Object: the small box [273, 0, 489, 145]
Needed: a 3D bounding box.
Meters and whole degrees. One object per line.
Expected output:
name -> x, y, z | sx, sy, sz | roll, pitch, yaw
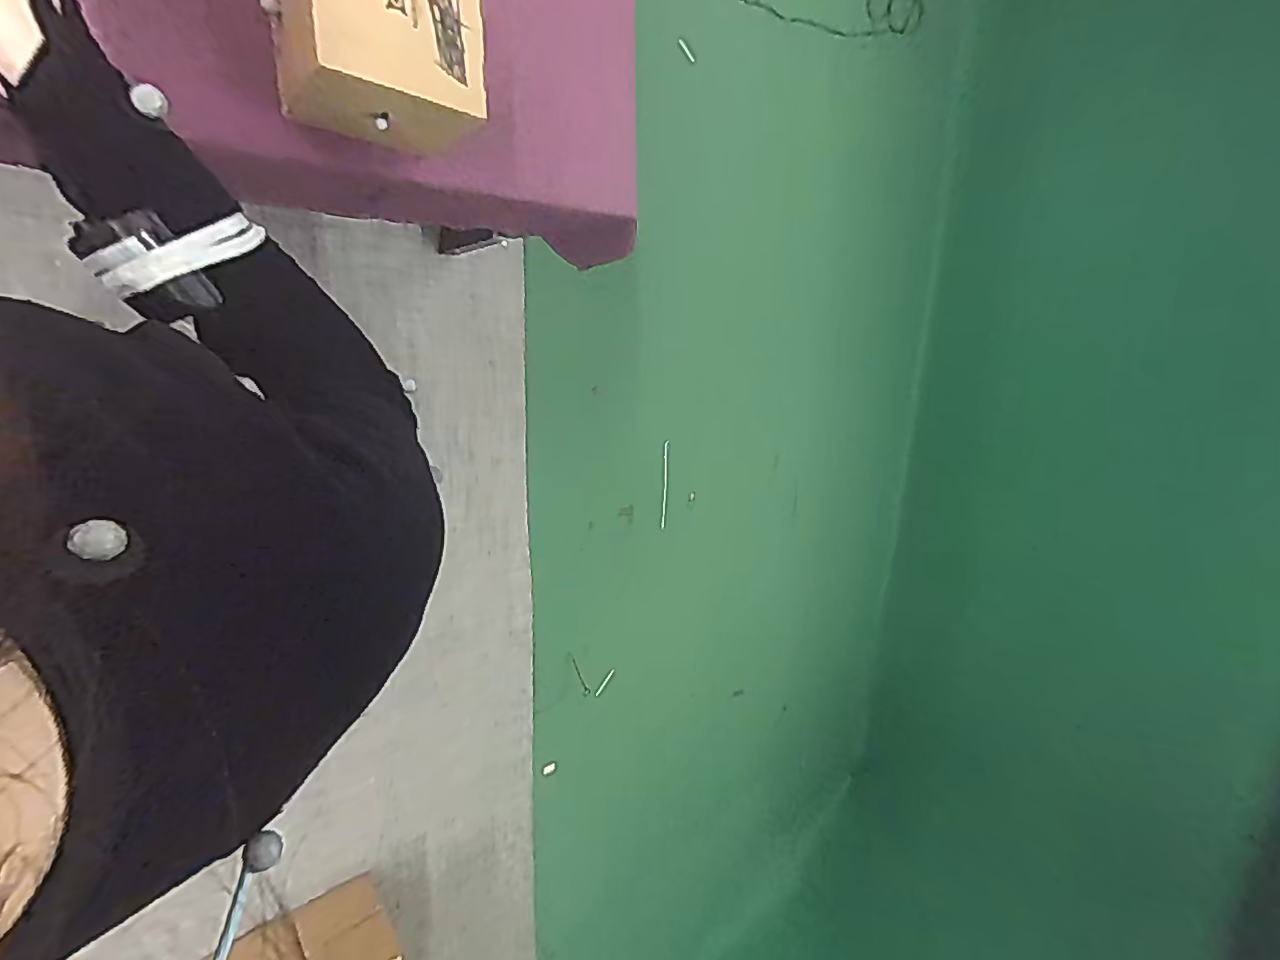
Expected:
small box -> -0.289, -0.499, 0.603 | 0.179, 0.176, 0.168 | -11, 107, -40
